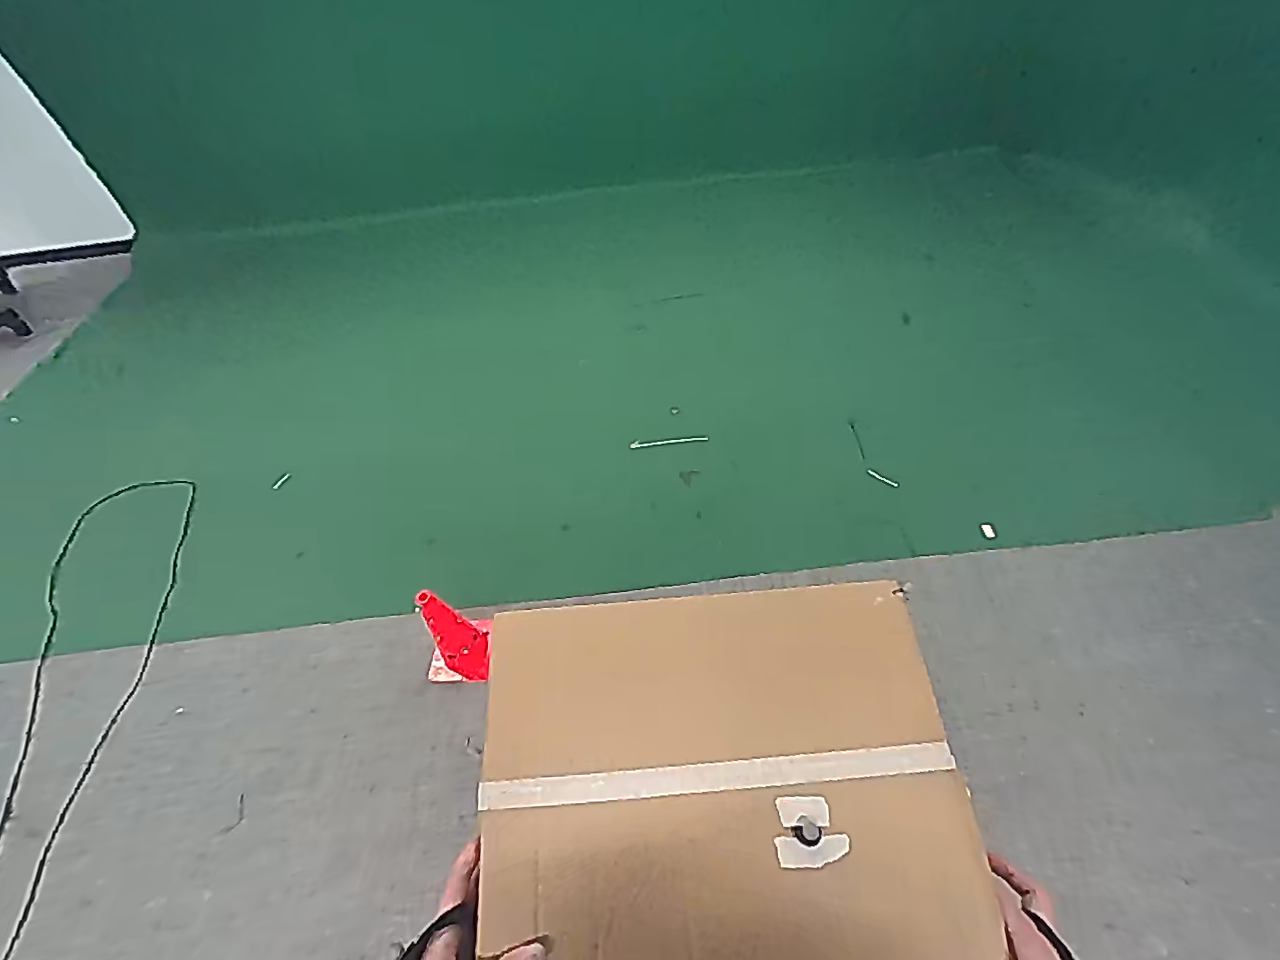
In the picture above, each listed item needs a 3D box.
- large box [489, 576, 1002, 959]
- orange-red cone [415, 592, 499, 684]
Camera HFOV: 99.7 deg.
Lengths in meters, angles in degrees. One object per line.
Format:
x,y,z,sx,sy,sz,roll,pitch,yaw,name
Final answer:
0.071,0.321,0.608,0.408,0.320,0.320,-5,63,-1,large box
-0.566,0.431,1.571,0.199,0.360,0.198,-2,49,7,orange-red cone
